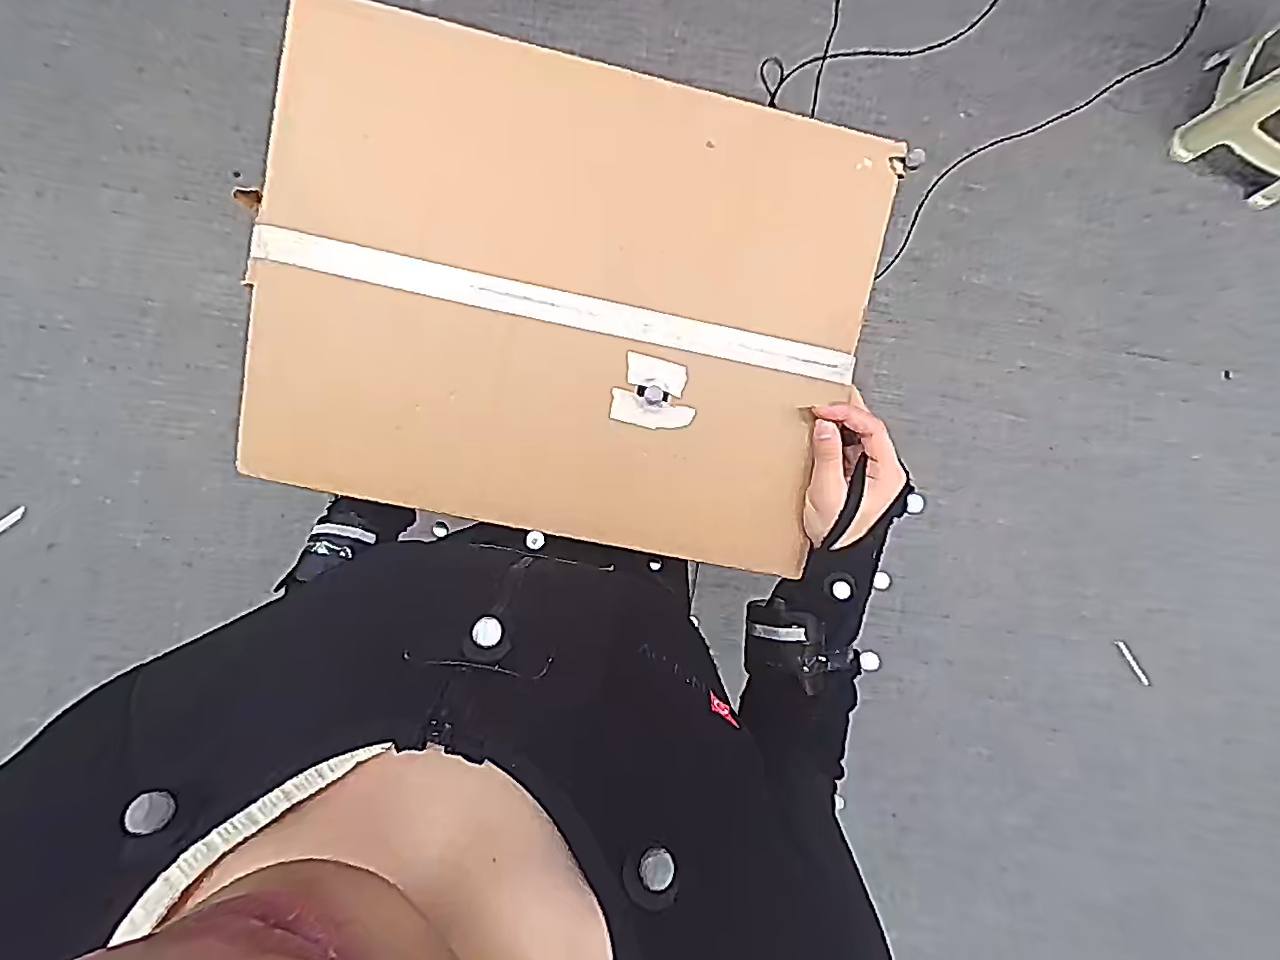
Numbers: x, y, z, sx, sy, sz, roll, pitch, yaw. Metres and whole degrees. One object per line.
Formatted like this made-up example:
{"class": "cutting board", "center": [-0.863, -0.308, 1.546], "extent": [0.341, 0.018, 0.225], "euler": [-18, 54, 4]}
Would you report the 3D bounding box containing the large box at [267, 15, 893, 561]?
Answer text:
{"class": "large box", "center": [-0.053, -0.136, 0.526], "extent": [0.408, 0.320, 0.320], "euler": [10, 97, -6]}
